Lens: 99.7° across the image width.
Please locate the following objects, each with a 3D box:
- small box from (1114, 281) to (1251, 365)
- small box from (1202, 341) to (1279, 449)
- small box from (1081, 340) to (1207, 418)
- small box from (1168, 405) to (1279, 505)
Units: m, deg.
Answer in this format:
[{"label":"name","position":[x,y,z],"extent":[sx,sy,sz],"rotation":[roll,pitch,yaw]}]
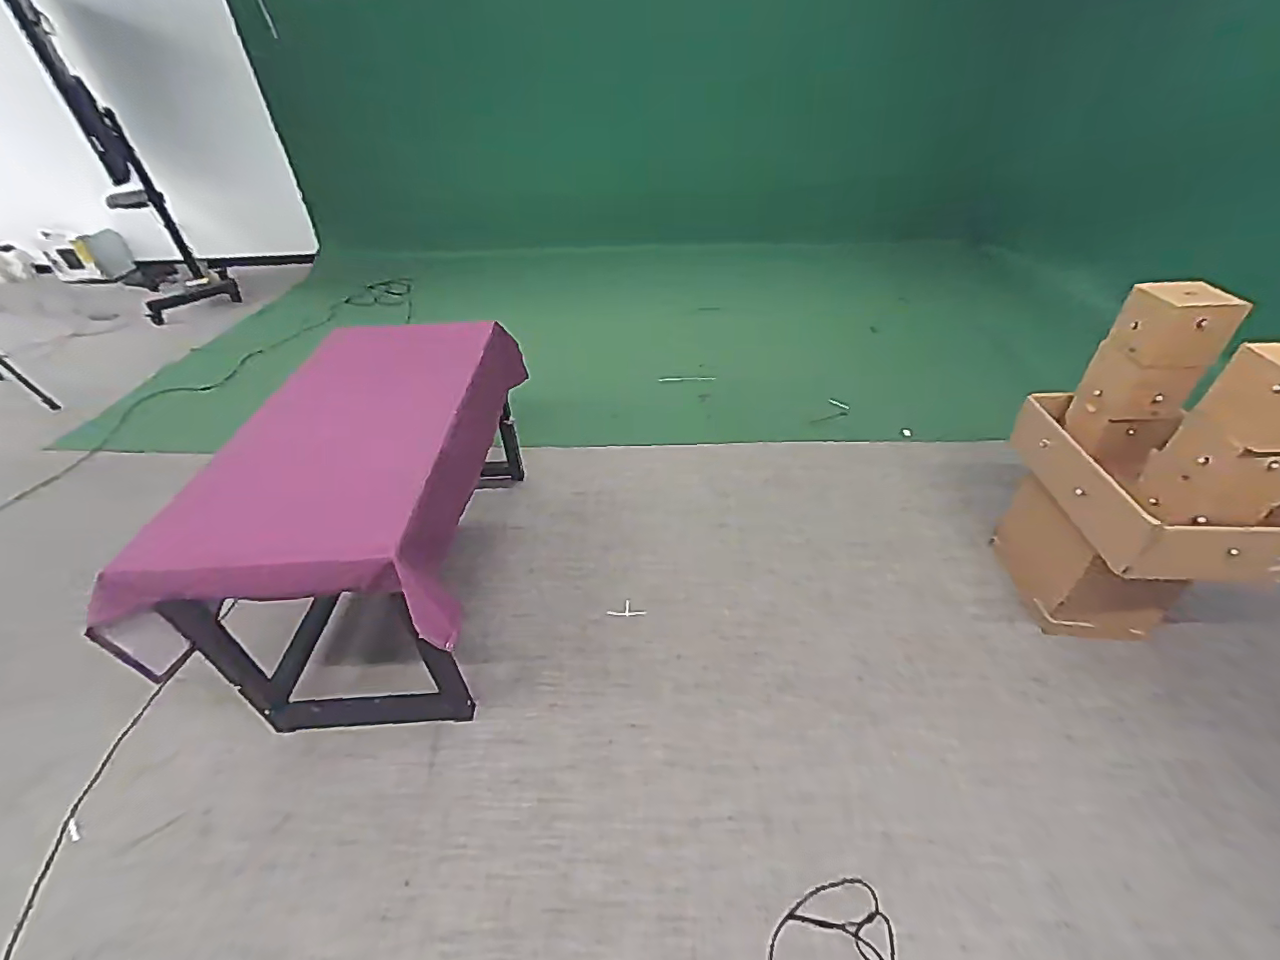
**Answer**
[{"label":"small box","position":[1.417,-0.414,1.436],"extent":[0.179,0.176,0.168],"rotation":[0,39,4]},{"label":"small box","position":[1.385,-0.181,1.152],"extent":[0.168,0.176,0.179],"rotation":[0,41,5]},{"label":"small box","position":[1.423,-0.288,1.543],"extent":[0.168,0.176,0.179],"rotation":[-1,39,3]},{"label":"small box","position":[1.396,-0.058,1.257],"extent":[0.179,0.176,0.168],"rotation":[4,41,8]}]
